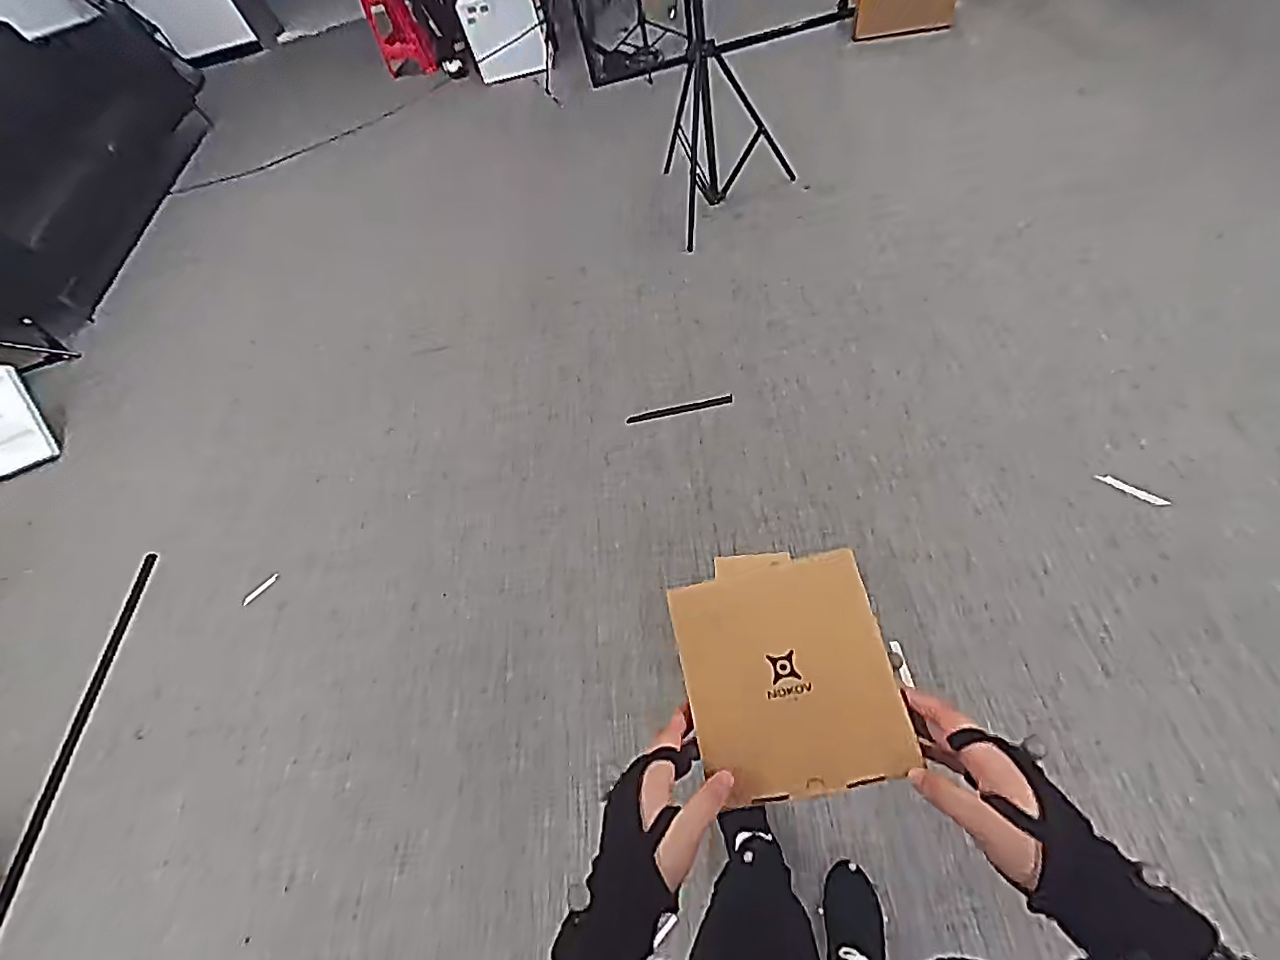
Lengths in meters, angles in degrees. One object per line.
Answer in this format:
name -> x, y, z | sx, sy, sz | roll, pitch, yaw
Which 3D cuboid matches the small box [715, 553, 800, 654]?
small box -> 0.258, 0.279, 1.207 | 0.168, 0.176, 0.179 | -6, 59, 11
